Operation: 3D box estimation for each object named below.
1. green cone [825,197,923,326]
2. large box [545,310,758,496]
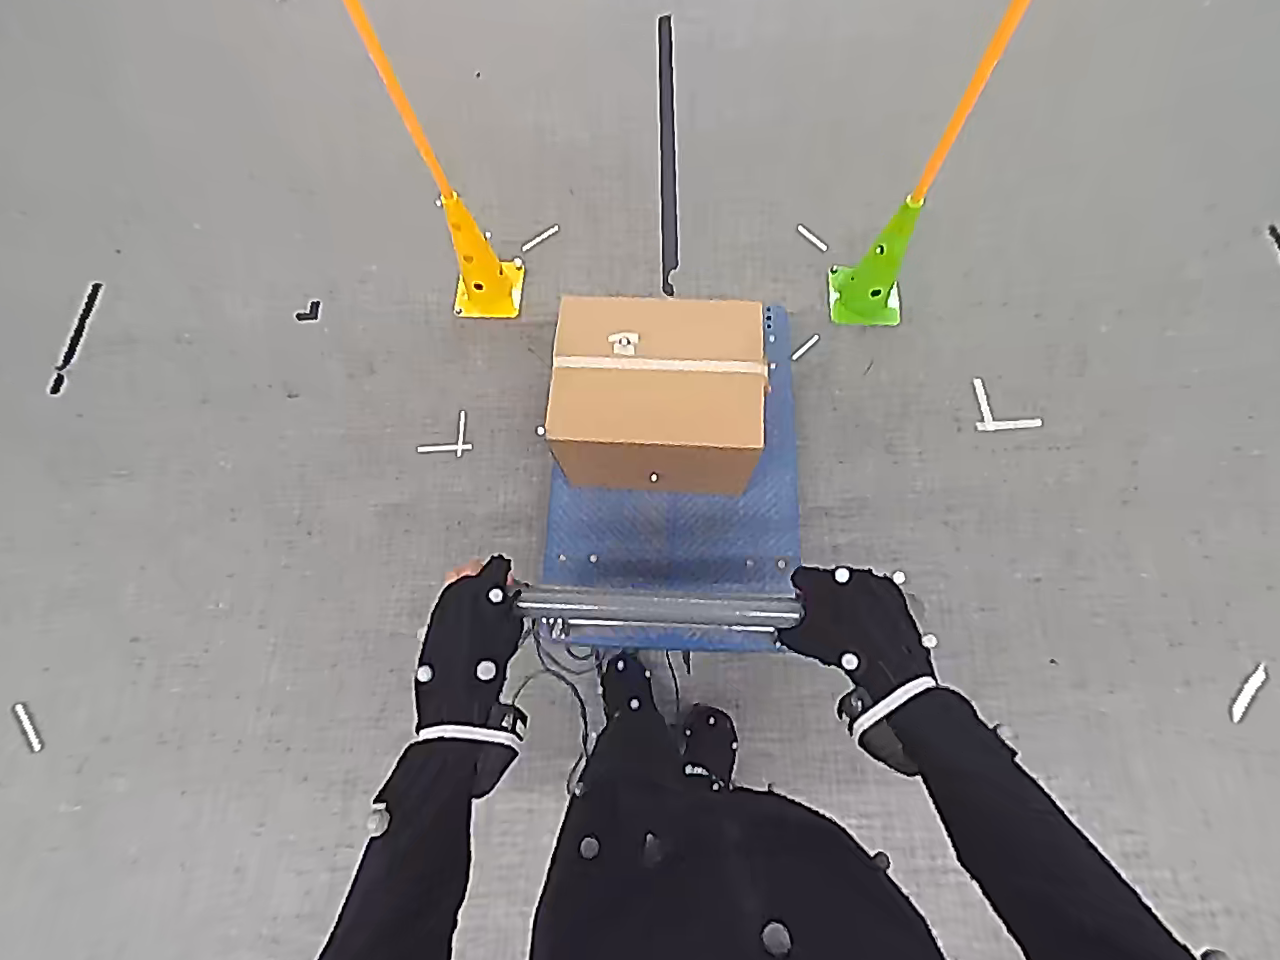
[{"bbox_3d":[0.656,-0.603,1.461,0.202,0.368,0.200,2,72,2],"label":"green cone"},{"bbox_3d":[0.036,-0.154,1.189,0.408,0.320,0.320,2,72,4],"label":"large box"}]
